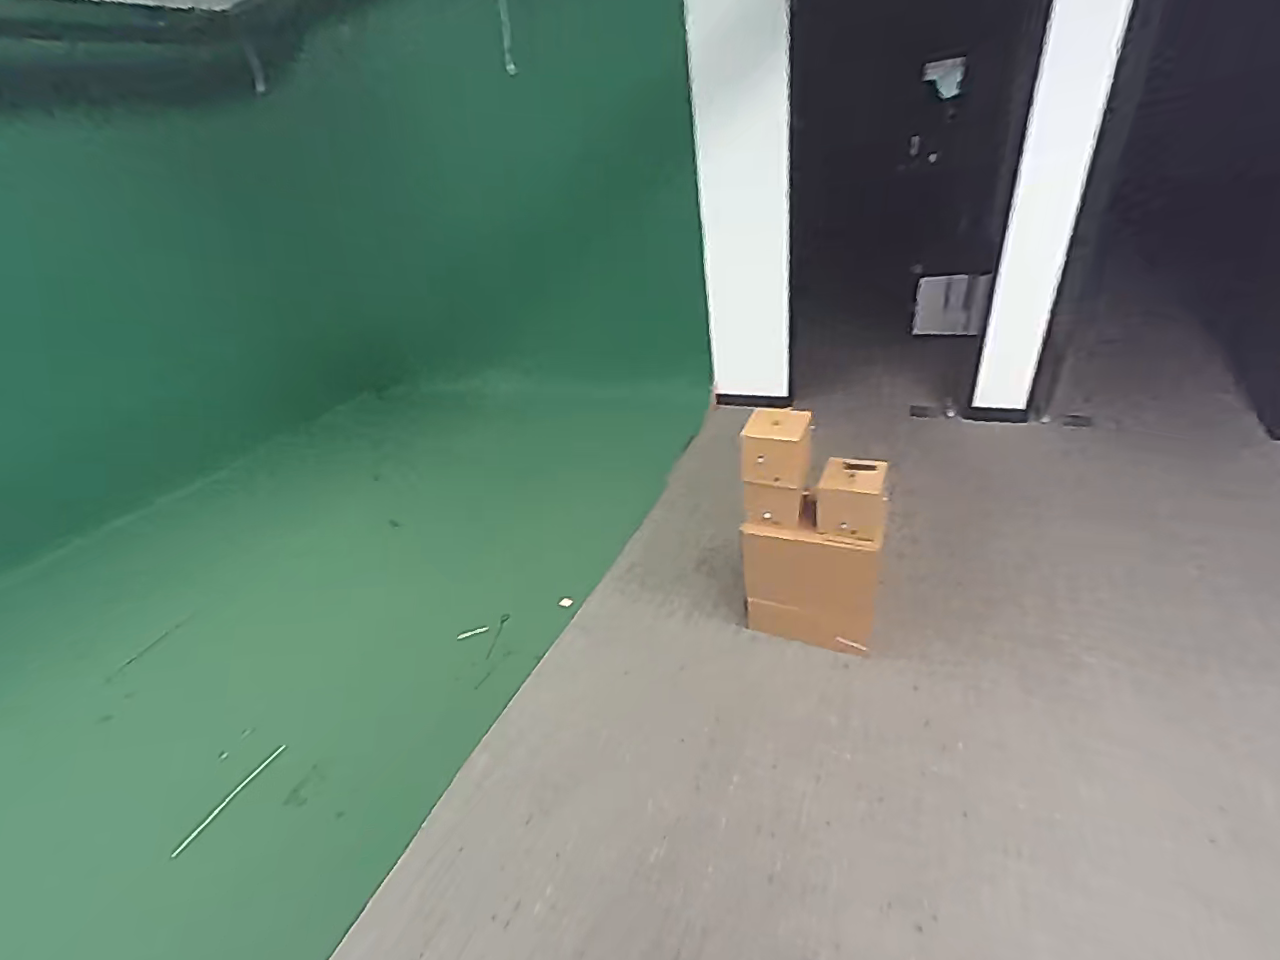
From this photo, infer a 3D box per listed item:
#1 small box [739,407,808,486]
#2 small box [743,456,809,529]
[{"bbox_3d":[0.402,-0.100,1.612,0.168,0.176,0.179,9,38,25],"label":"small box"},{"bbox_3d":[0.431,0.026,1.711,0.168,0.176,0.179,9,39,25],"label":"small box"}]
